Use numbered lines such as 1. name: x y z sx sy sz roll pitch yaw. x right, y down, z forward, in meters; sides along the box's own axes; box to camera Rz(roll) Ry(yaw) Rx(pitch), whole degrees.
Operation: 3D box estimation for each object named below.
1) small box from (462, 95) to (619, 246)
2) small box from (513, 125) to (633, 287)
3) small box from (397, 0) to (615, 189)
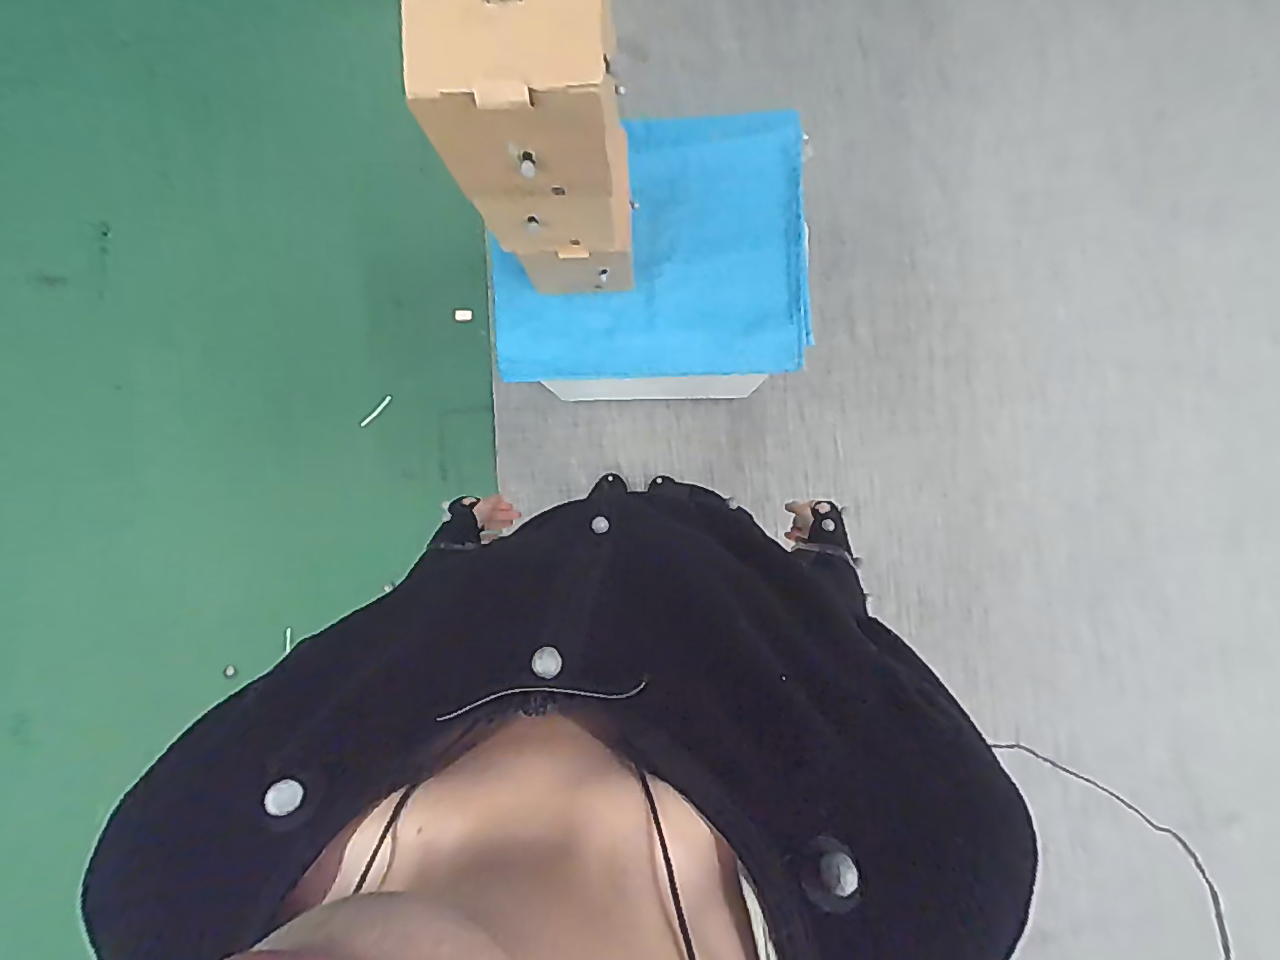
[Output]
1. small box: -0.113 -0.410 0.677 0.168 0.176 0.179 0 89 1
2. small box: -0.097 -0.409 0.838 0.168 0.176 0.179 -1 89 1
3. small box: -0.111 -0.400 0.513 0.168 0.176 0.179 0 90 1
